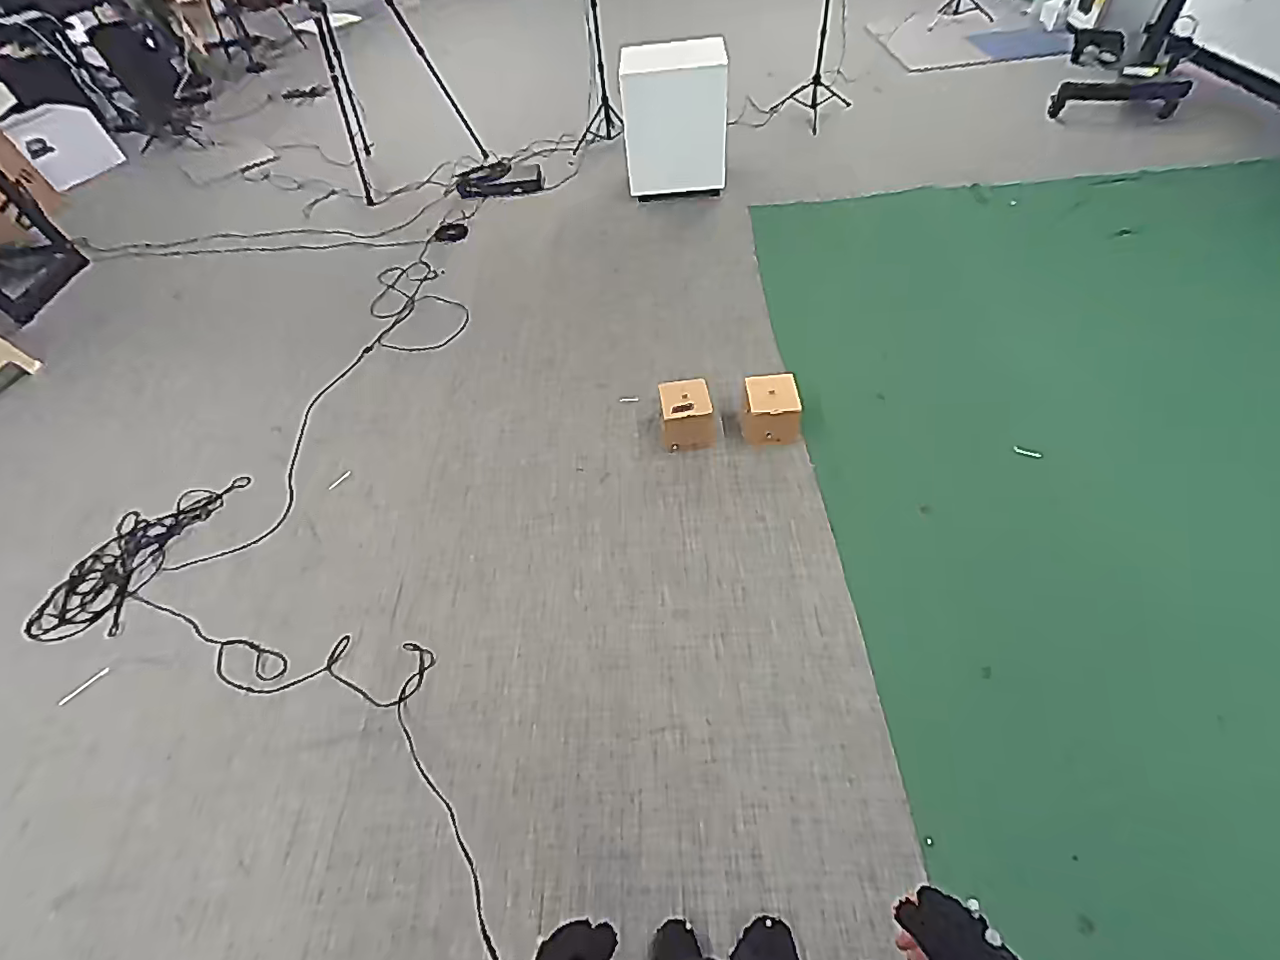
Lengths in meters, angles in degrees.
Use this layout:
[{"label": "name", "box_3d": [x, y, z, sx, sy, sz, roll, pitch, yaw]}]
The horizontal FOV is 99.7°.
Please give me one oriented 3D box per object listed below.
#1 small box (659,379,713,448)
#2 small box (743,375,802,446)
[{"label": "small box", "box_3d": [0.161, -0.226, 1.898, 0.168, 0.176, 0.179, -7, 52, 0]}, {"label": "small box", "box_3d": [0.453, -0.239, 1.880, 0.168, 0.176, 0.179, -4, 53, 3]}]
